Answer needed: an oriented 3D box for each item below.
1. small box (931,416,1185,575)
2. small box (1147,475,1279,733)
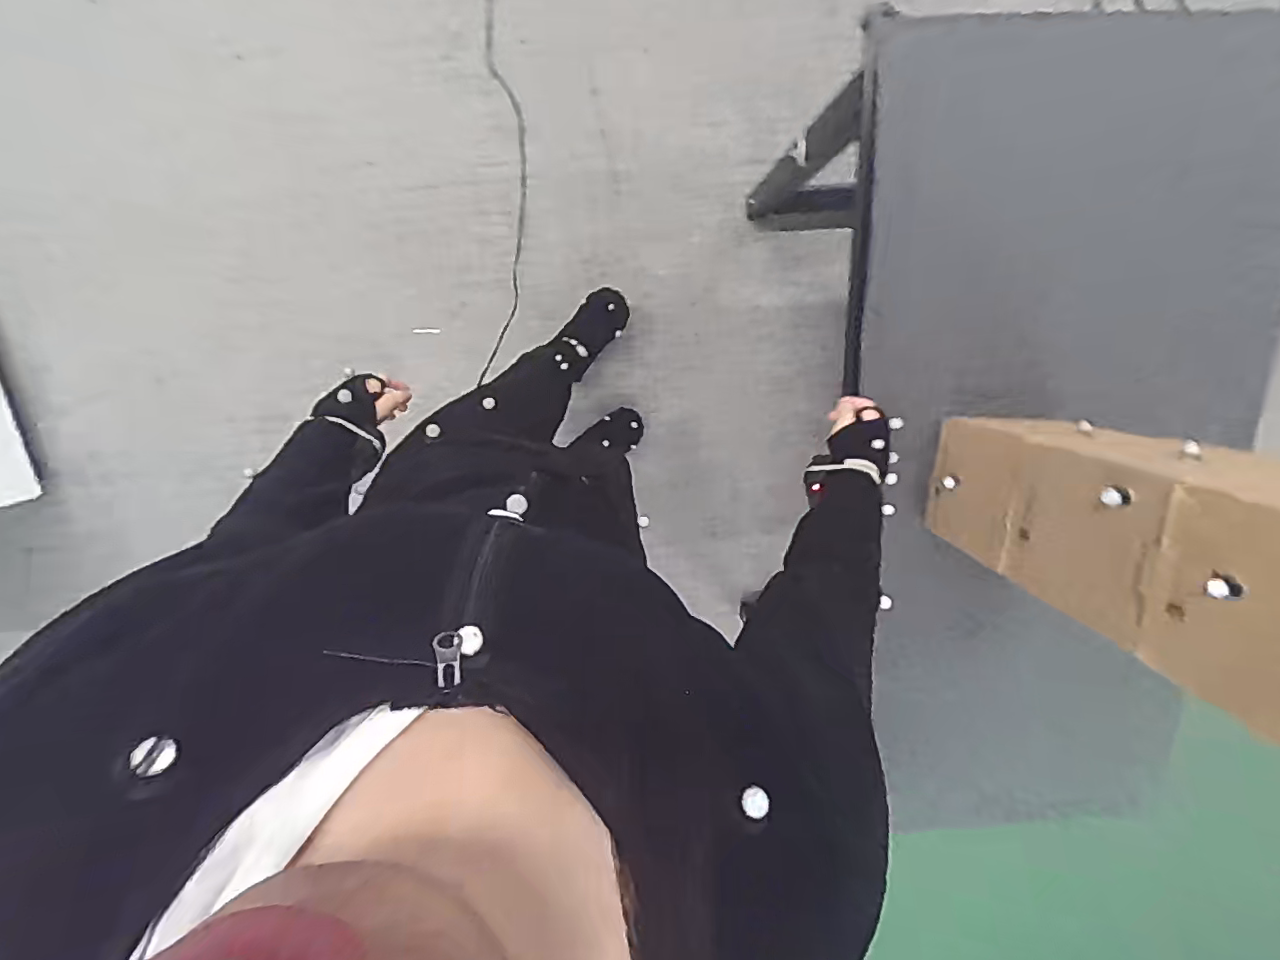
[{"bbox_3d":[0.518,0.011,0.699,0.179,0.176,0.168,2,105,-2],"label":"small box"},{"bbox_3d":[0.534,0.093,0.383,0.179,0.176,0.168,-3,105,-2],"label":"small box"}]
